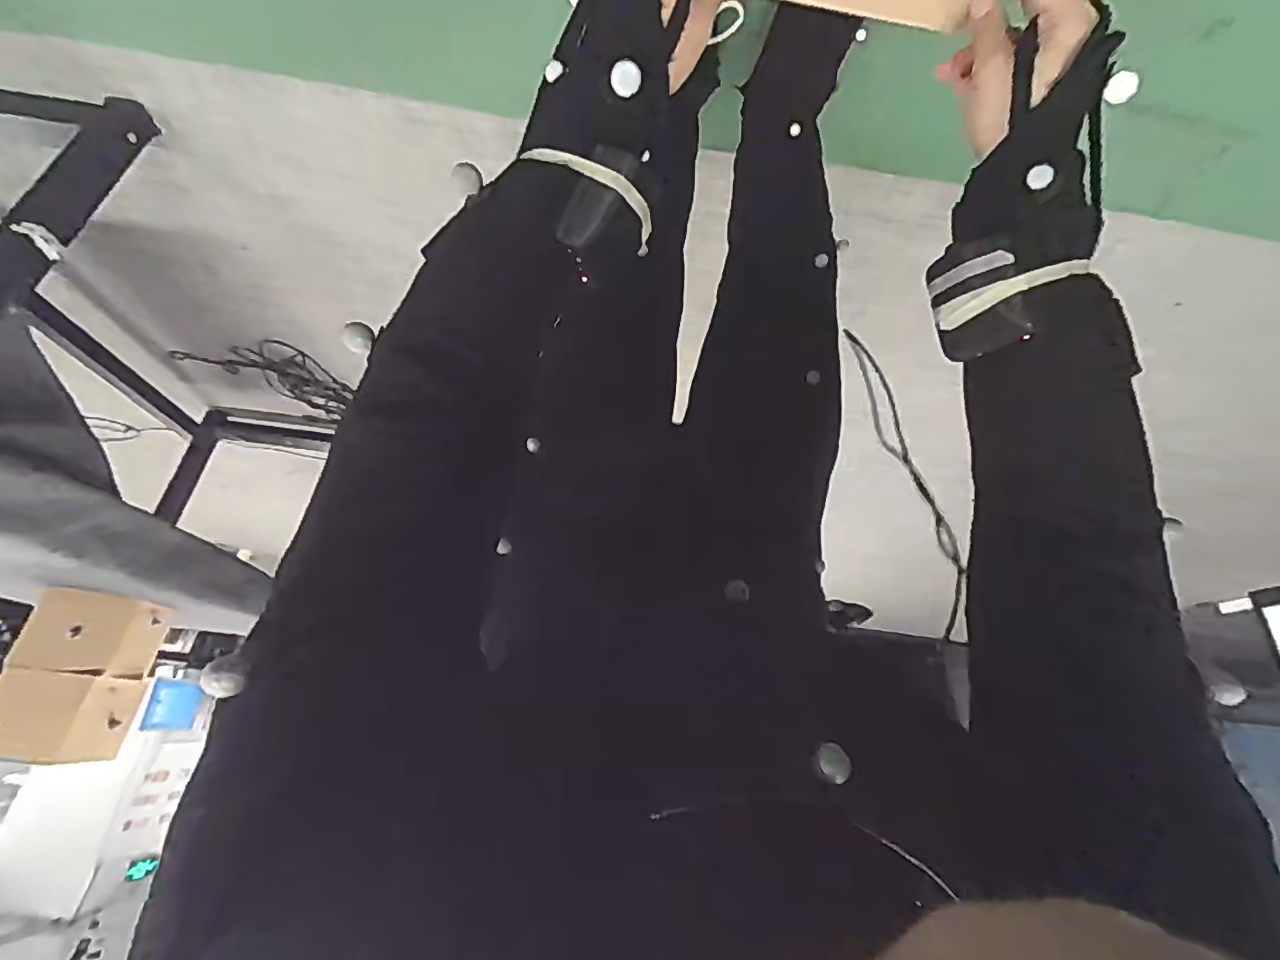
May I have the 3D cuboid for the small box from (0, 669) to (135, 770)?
[{"bbox_3d":[-1.202,0.487,1.112,0.179,0.176,0.168,9,155,-5],"label":"small box"}]
